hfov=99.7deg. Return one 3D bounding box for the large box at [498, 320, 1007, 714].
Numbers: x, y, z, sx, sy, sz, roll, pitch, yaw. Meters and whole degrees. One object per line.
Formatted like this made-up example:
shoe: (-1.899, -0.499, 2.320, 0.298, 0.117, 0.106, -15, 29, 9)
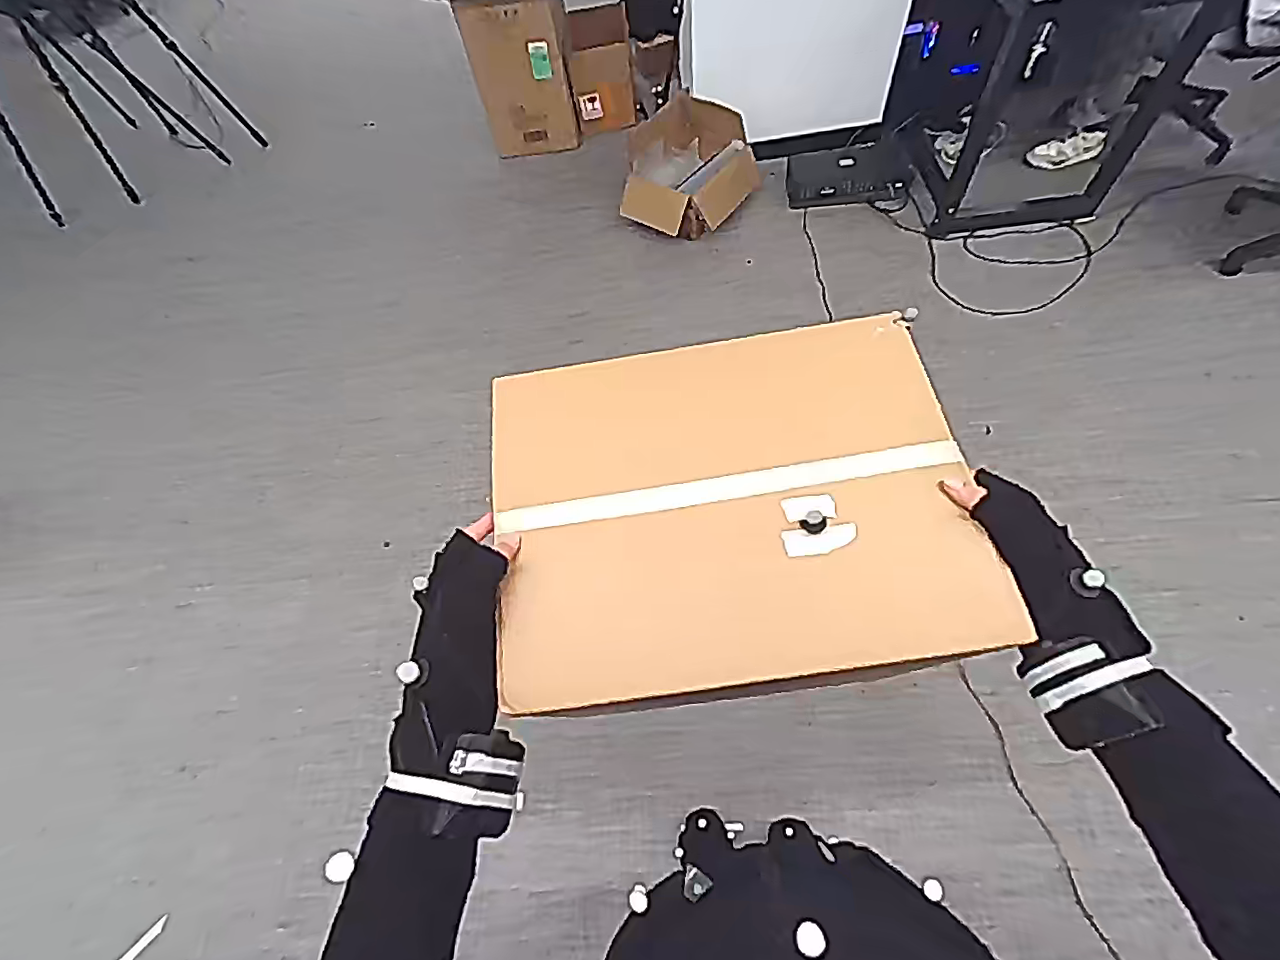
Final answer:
large box: (0.083, 0.070, 0.618, 0.408, 0.320, 0.320, -9, 66, 2)
